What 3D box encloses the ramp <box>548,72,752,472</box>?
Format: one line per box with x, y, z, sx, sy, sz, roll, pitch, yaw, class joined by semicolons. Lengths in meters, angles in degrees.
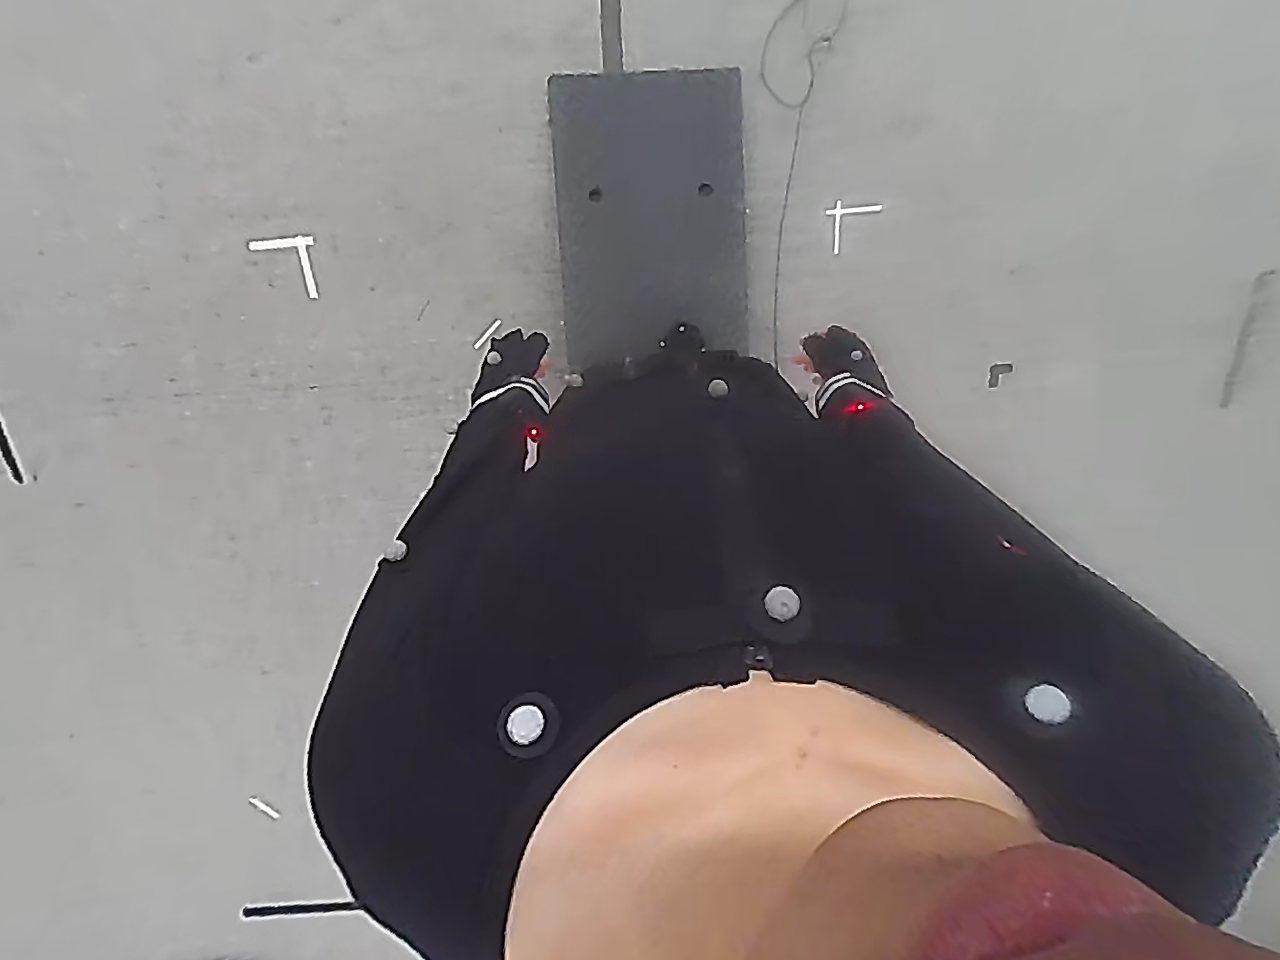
0.034;-0.528;1.432;0.509;0.206;0.991;-5;107;1;ramp
